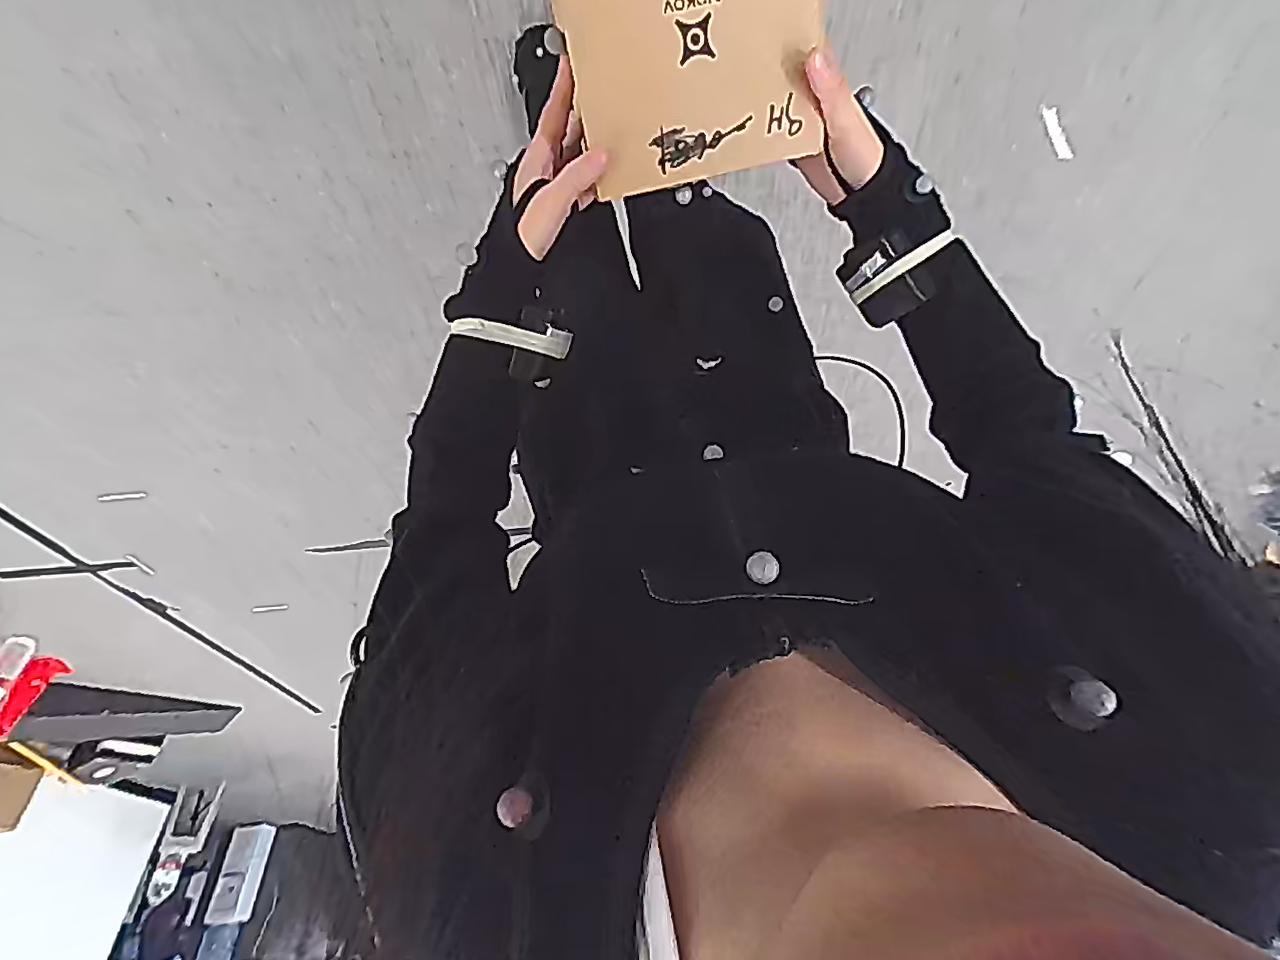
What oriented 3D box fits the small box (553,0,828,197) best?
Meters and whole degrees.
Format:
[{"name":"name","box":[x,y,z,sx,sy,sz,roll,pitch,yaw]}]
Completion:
[{"name":"small box","box":[0.028,-0.326,0.408,0.168,0.176,0.179,-12,121,0]}]
